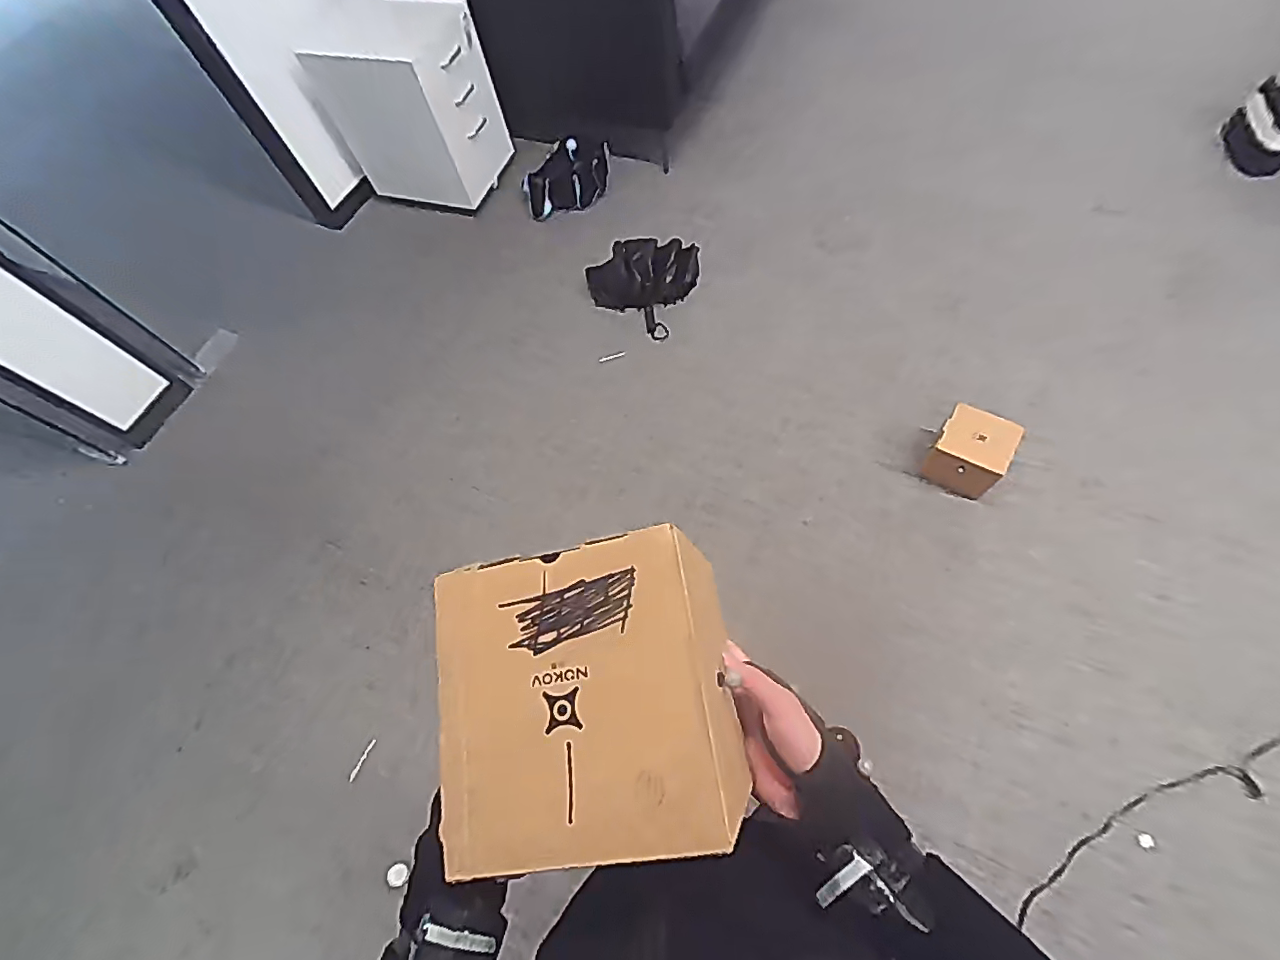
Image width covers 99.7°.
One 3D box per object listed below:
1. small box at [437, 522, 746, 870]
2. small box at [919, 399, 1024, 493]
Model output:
[{"bbox_3d":[-0.025,0.146,0.391,0.168,0.176,0.179,-13,71,12],"label":"small box"},{"bbox_3d":[0.911,-0.088,1.504,0.179,0.176,0.168,28,72,18],"label":"small box"}]
